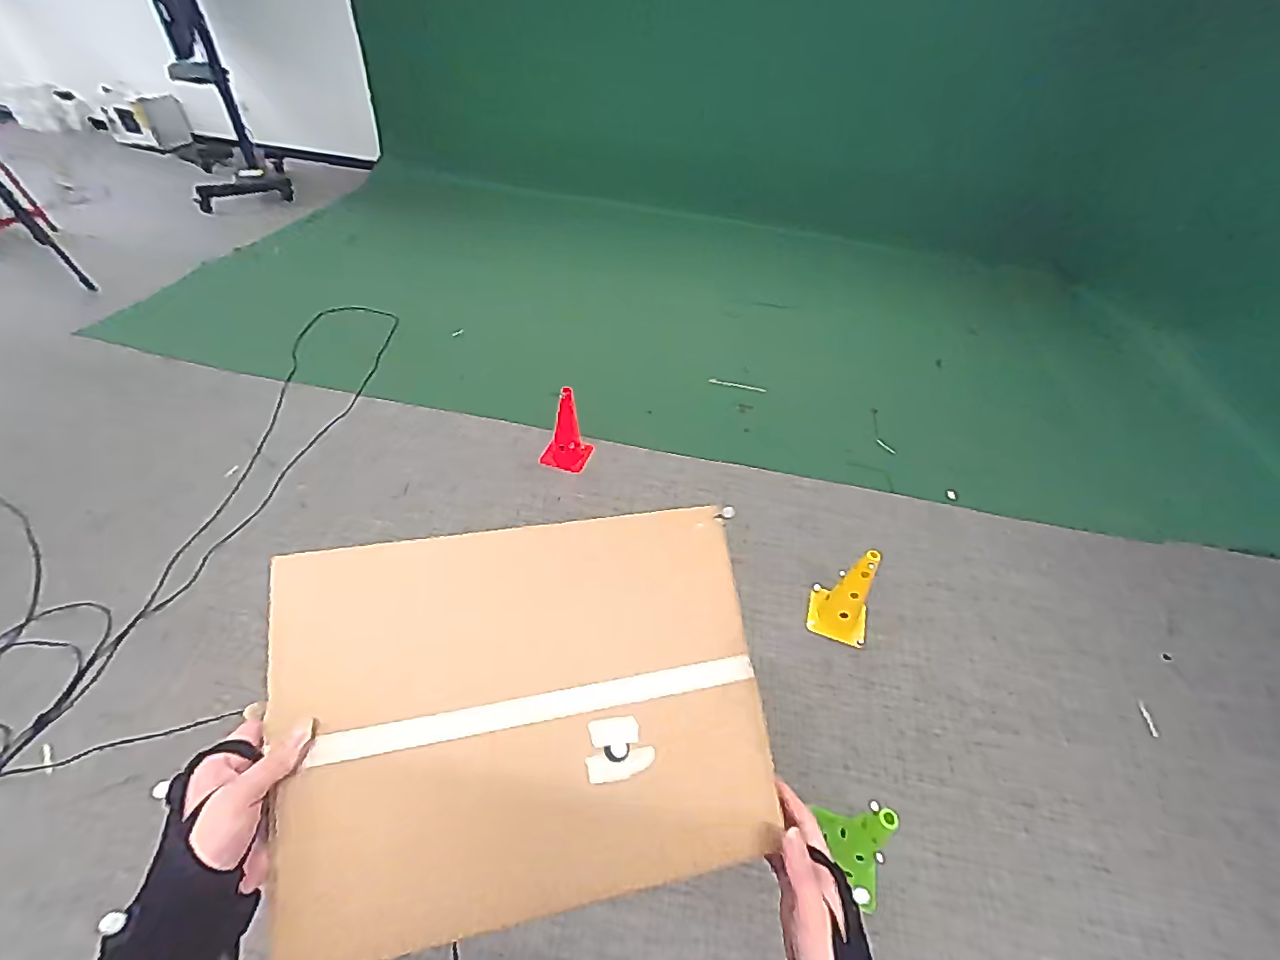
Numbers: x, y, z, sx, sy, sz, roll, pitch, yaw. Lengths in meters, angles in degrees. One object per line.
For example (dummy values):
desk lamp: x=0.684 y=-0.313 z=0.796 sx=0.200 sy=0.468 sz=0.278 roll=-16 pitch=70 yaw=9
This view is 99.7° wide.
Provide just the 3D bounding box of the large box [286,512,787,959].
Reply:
large box: x=-0.113 y=0.242 z=0.607 sx=0.408 sy=0.320 sz=0.320 roll=-6 pitch=76 yaw=-12

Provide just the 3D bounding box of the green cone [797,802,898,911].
green cone: x=0.533 y=0.864 z=1.305 sx=0.200 sy=0.368 sz=0.202 roll=15 pitch=44 yaw=8

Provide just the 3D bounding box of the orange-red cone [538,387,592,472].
orange-red cone: x=-0.324 y=-0.239 z=2.315 sx=0.199 sy=0.360 sz=0.198 roll=15 pitch=44 yaw=10
